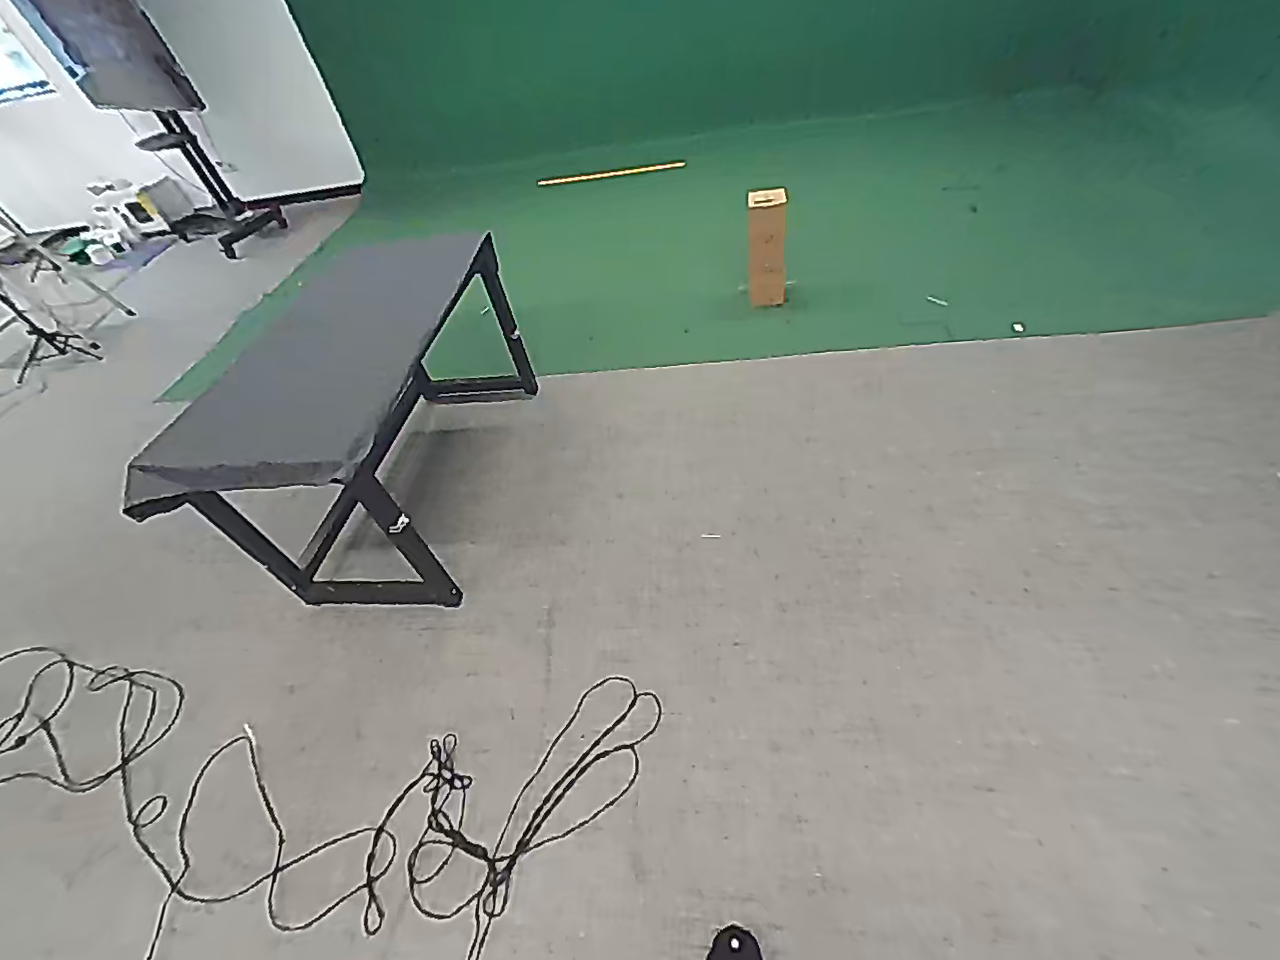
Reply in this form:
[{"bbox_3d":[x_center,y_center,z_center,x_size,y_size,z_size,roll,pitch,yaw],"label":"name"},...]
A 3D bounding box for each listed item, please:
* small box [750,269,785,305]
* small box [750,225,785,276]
[{"bbox_3d":[0.653,-1.010,2.762,0.168,0.176,0.179,-4,46,10],"label":"small box"},{"bbox_3d":[0.621,-1.122,2.644,0.168,0.176,0.179,-2,47,12],"label":"small box"}]
